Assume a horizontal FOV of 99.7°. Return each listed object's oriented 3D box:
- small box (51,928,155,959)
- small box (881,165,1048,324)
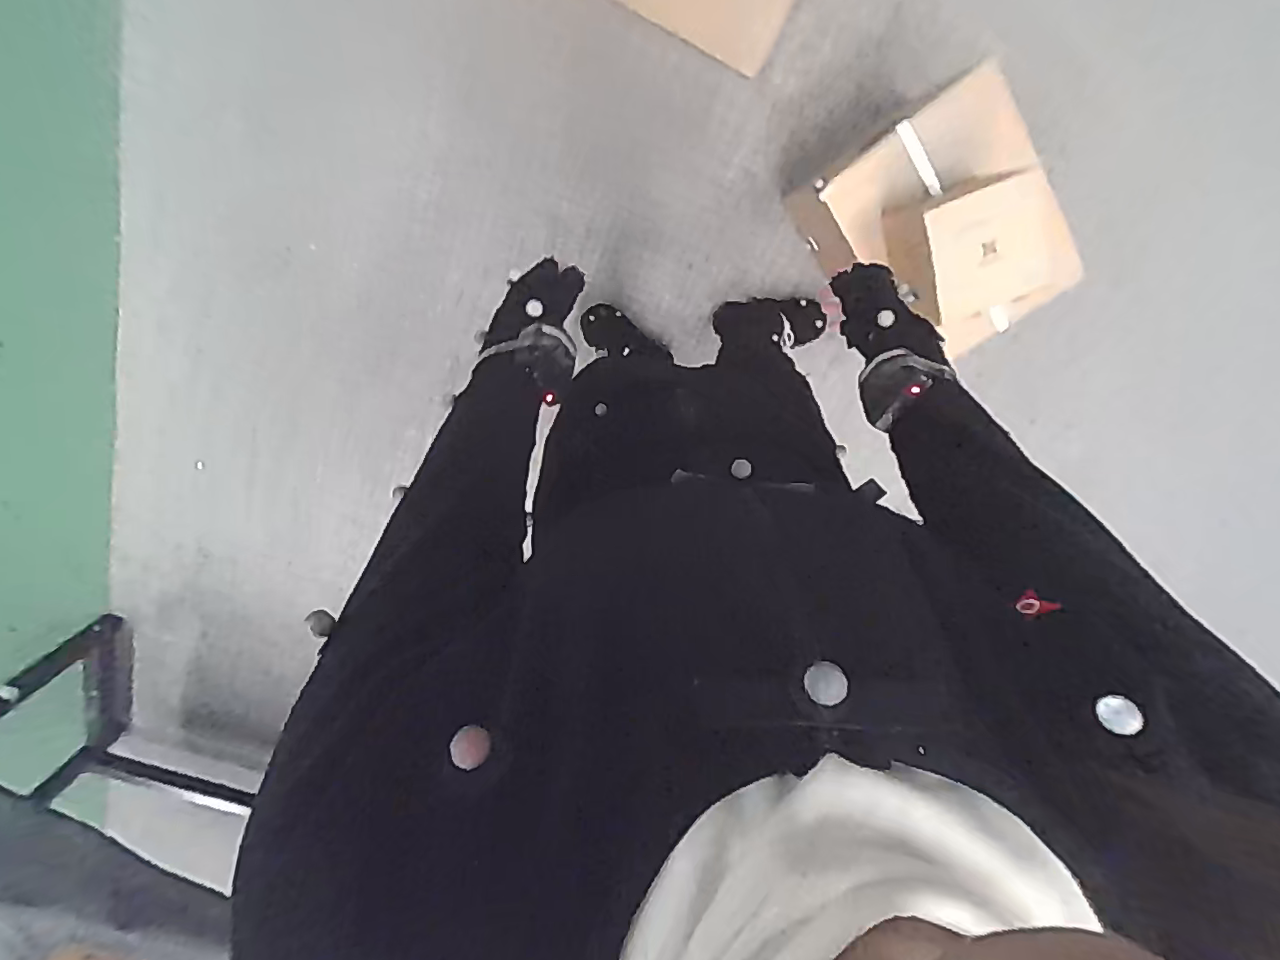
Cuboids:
[{"bbox_3d":[-1.156,1.078,1.120,0.168,0.176,0.179,19,112,-6],"label":"small box"},{"bbox_3d":[0.515,-0.376,0.875,0.168,0.176,0.179,-20,111,10],"label":"small box"}]
